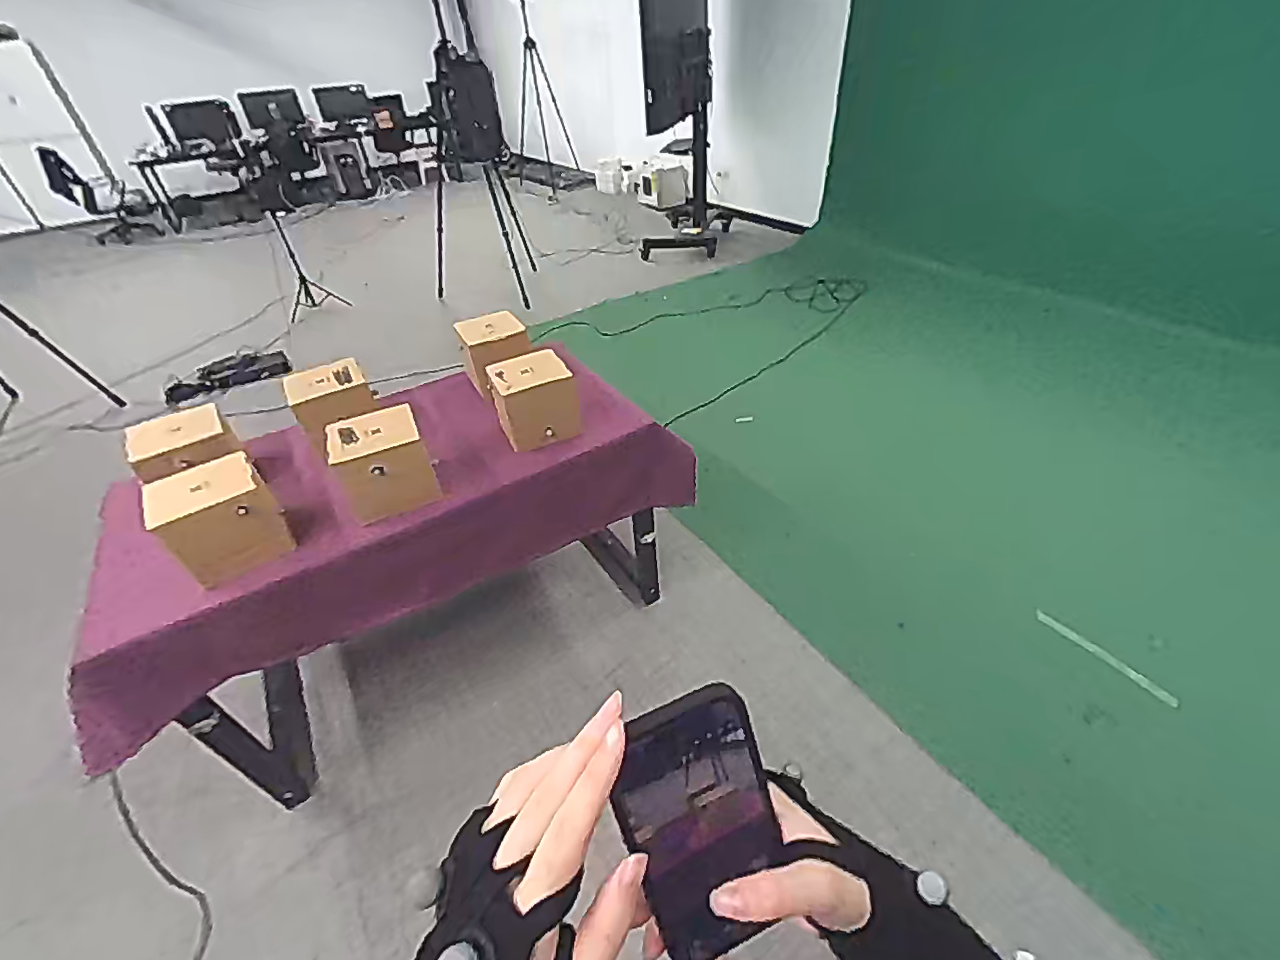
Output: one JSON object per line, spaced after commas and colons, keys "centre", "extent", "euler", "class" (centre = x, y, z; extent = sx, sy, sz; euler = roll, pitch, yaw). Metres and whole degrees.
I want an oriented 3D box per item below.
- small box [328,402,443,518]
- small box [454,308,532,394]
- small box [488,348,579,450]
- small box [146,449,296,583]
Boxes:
{"centre": [-0.552, -0.042, 1.178], "extent": [0.179, 0.176, 0.168], "euler": [-20, 42, -19], "class": "small box"}
{"centre": [-0.415, -0.370, 1.557], "extent": [0.168, 0.176, 0.179], "euler": [-22, 44, -19], "class": "small box"}
{"centre": [-0.260, -0.202, 1.342], "extent": [0.179, 0.176, 0.168], "euler": [-19, 42, -18], "class": "small box"}
{"centre": [-0.822, 0.072, 1.069], "extent": [0.179, 0.176, 0.168], "euler": [-28, 45, -28], "class": "small box"}
